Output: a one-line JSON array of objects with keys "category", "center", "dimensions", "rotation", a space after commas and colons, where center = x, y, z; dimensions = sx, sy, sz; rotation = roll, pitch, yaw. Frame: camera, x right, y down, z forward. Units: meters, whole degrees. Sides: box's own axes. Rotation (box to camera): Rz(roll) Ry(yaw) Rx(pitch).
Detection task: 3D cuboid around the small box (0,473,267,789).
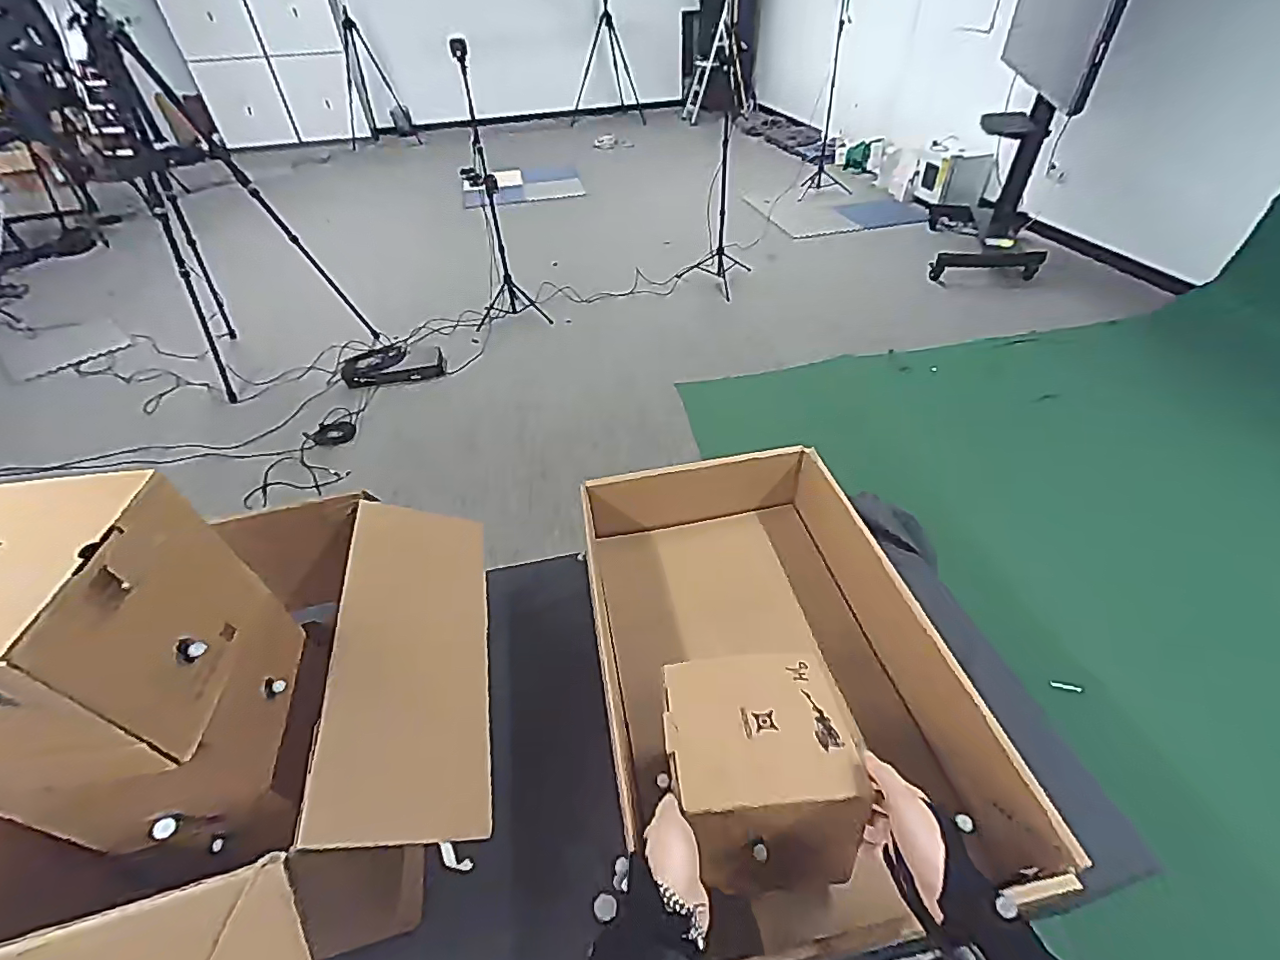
[{"category": "small box", "center": [-0.443, 0.117, 0.415], "dimensions": [0.179, 0.176, 0.168], "rotation": [-6, 44, -4]}]
